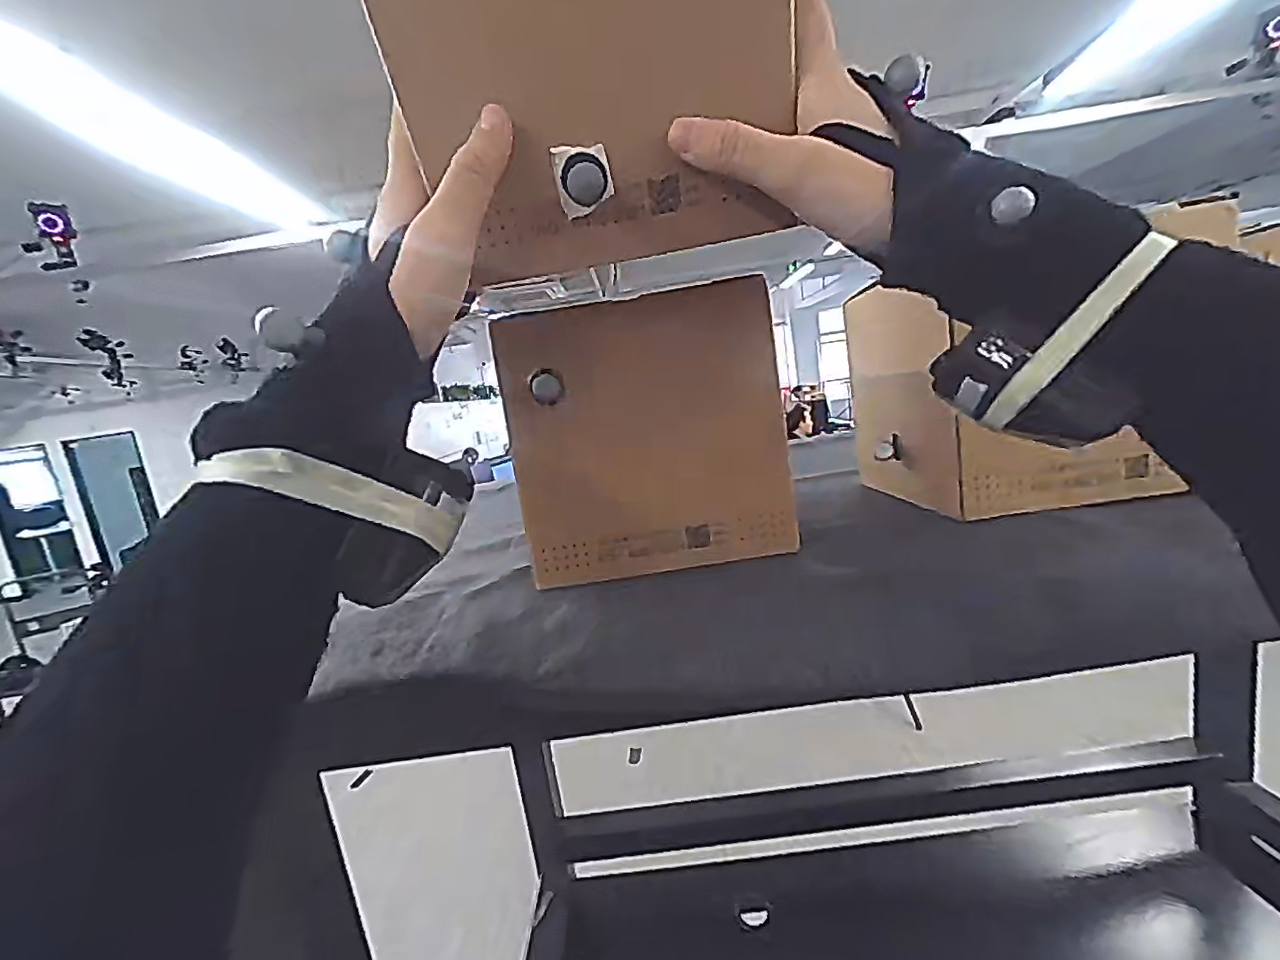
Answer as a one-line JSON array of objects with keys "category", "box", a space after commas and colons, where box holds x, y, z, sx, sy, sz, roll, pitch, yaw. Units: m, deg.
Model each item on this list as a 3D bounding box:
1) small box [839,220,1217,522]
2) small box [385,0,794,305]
[{"category": "small box", "box": [0.267, -0.069, 0.407, 0.168, 0.176, 0.179, -8, 8, 2]}, {"category": "small box", "box": [-0.021, -0.208, 0.298, 0.168, 0.176, 0.179, -11, 32, 2]}]
